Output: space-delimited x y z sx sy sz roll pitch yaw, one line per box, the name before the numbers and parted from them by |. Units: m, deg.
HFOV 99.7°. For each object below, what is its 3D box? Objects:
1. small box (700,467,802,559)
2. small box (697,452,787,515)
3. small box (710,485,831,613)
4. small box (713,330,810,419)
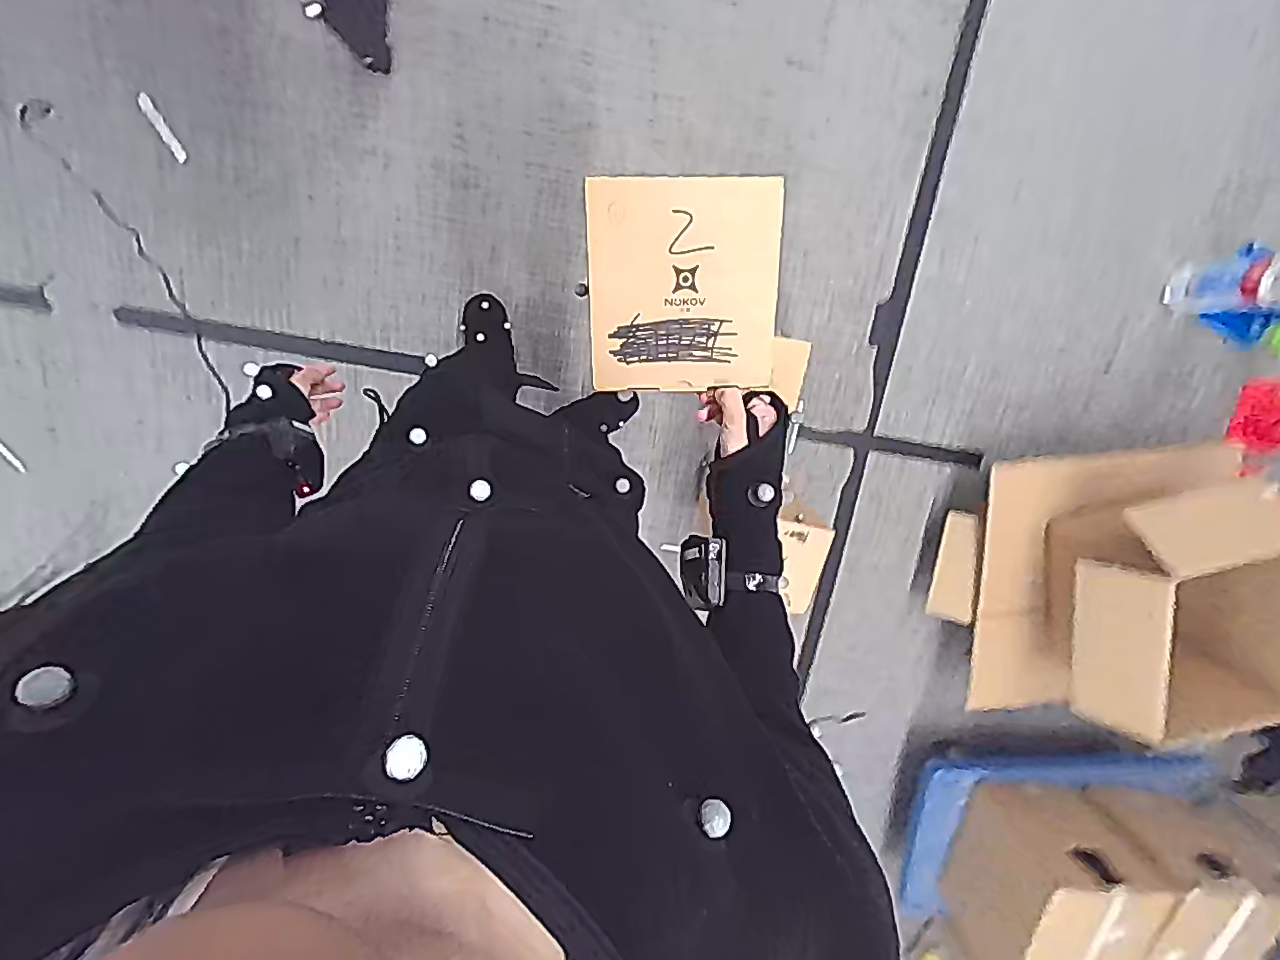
small box | 0.241 0.083 1.227 0.168 0.176 0.179 11 107 -5
small box | 0.252 0.032 1.384 0.179 0.176 0.168 8 107 -6
small box | 0.246 0.131 1.070 0.168 0.176 0.179 14 107 -7
small box | 0.282 -0.258 1.297 0.168 0.176 0.179 9 107 -6
